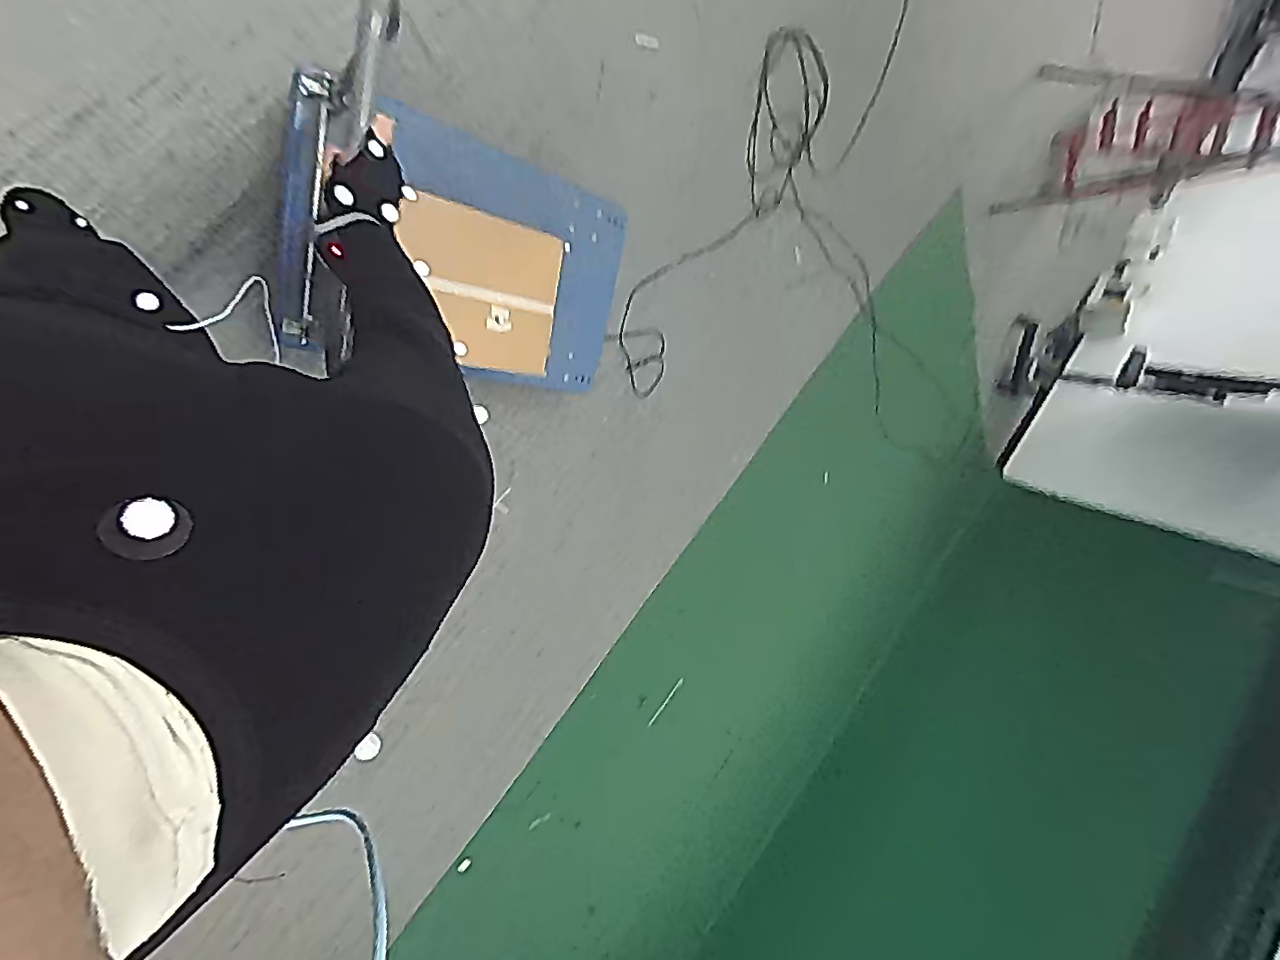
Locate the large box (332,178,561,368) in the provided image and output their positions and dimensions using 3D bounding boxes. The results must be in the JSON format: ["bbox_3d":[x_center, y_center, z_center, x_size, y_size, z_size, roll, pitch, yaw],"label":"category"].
[{"bbox_3d":[-0.450,-0.455,1.244,0.408,0.320,0.320,-1,110,-42],"label":"large box"}]
